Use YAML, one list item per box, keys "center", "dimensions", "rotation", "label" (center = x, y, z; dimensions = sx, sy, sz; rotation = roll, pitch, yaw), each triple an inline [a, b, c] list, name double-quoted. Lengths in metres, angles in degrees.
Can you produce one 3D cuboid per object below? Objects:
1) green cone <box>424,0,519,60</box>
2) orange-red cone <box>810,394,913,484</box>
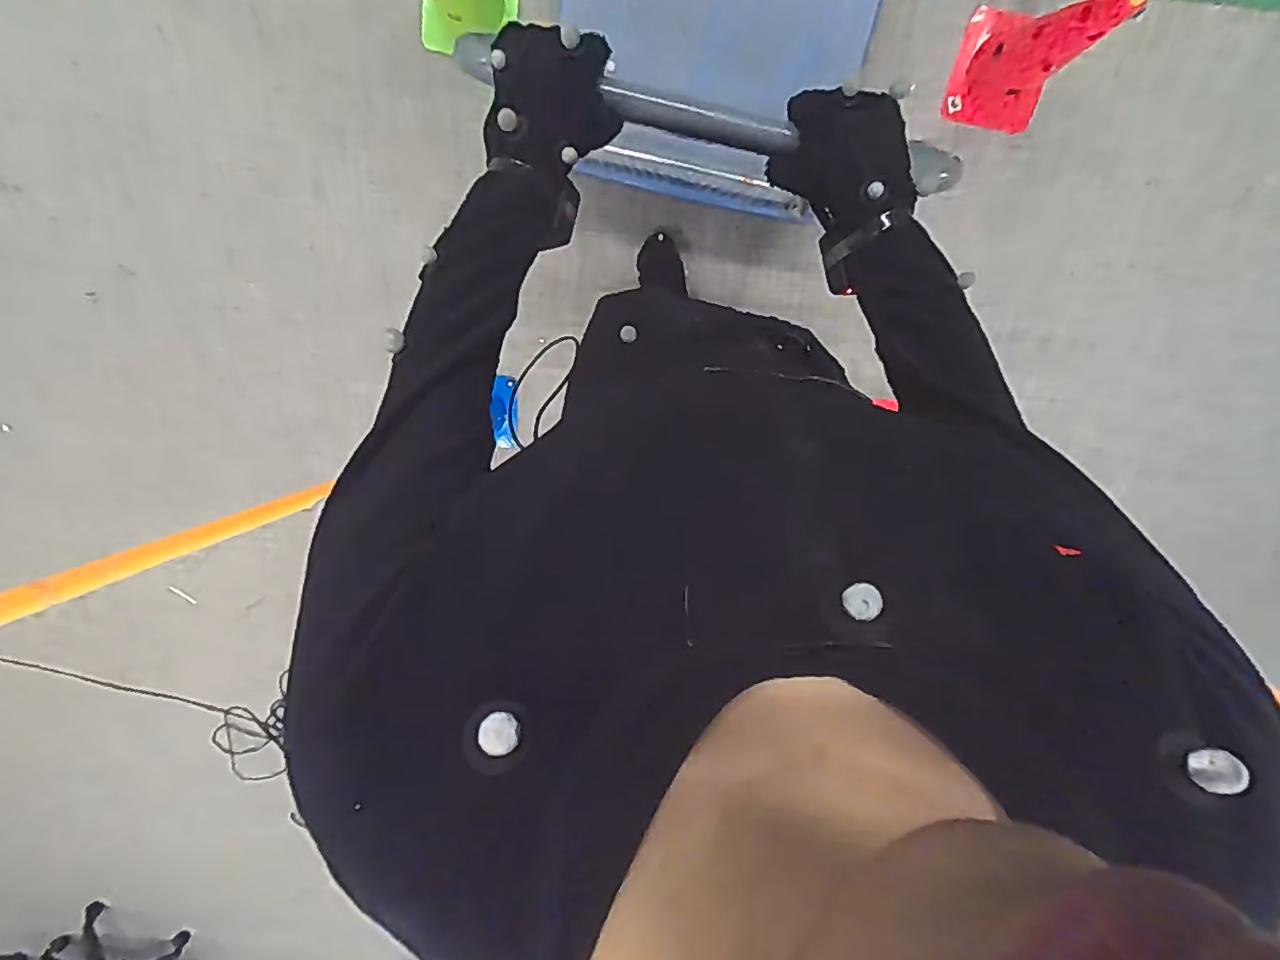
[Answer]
- center: [-0.360, -0.955, 0.975]
  dimensions: [0.202, 0.368, 0.200]
  rotation: [10, 111, -1]
  label: "green cone"
- center: [0.562, -0.069, 1.301]
  dimensions: [0.199, 0.360, 0.198]
  rotation: [6, 111, 1]
  label: "orange-red cone"
